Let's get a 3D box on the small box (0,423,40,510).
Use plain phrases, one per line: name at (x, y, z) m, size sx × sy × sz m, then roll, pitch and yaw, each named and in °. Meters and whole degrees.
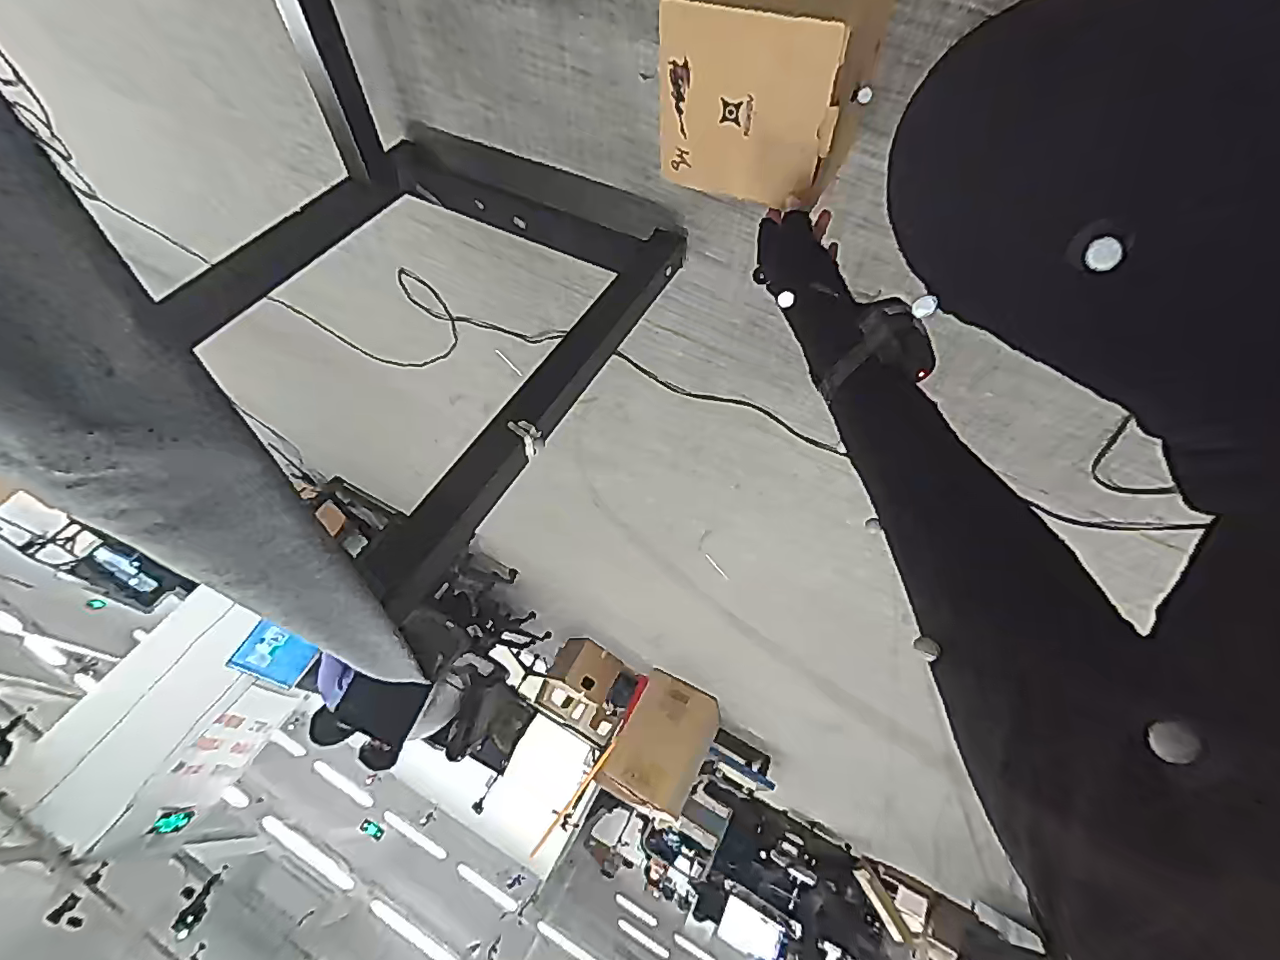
small box at (-0.426, -0.024, 0.216) m, size 0.179 × 0.176 × 0.168 m, roll 27°, pitch 150°, yaw 18°
